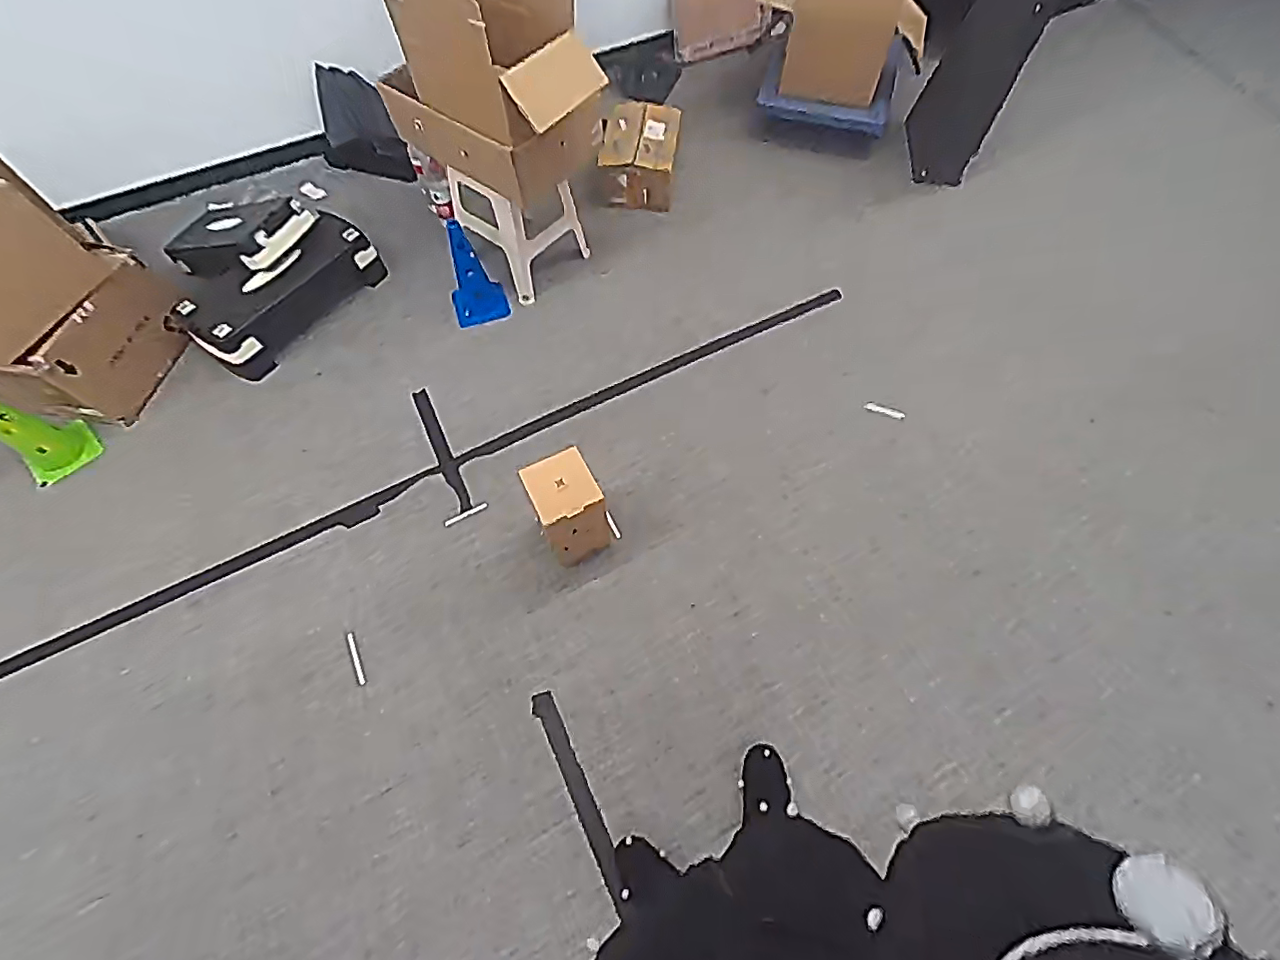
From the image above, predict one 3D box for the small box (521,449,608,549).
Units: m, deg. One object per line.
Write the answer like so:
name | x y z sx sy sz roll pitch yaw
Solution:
small box | -0.197 0.054 1.434 0.168 0.176 0.179 -26 65 -13
